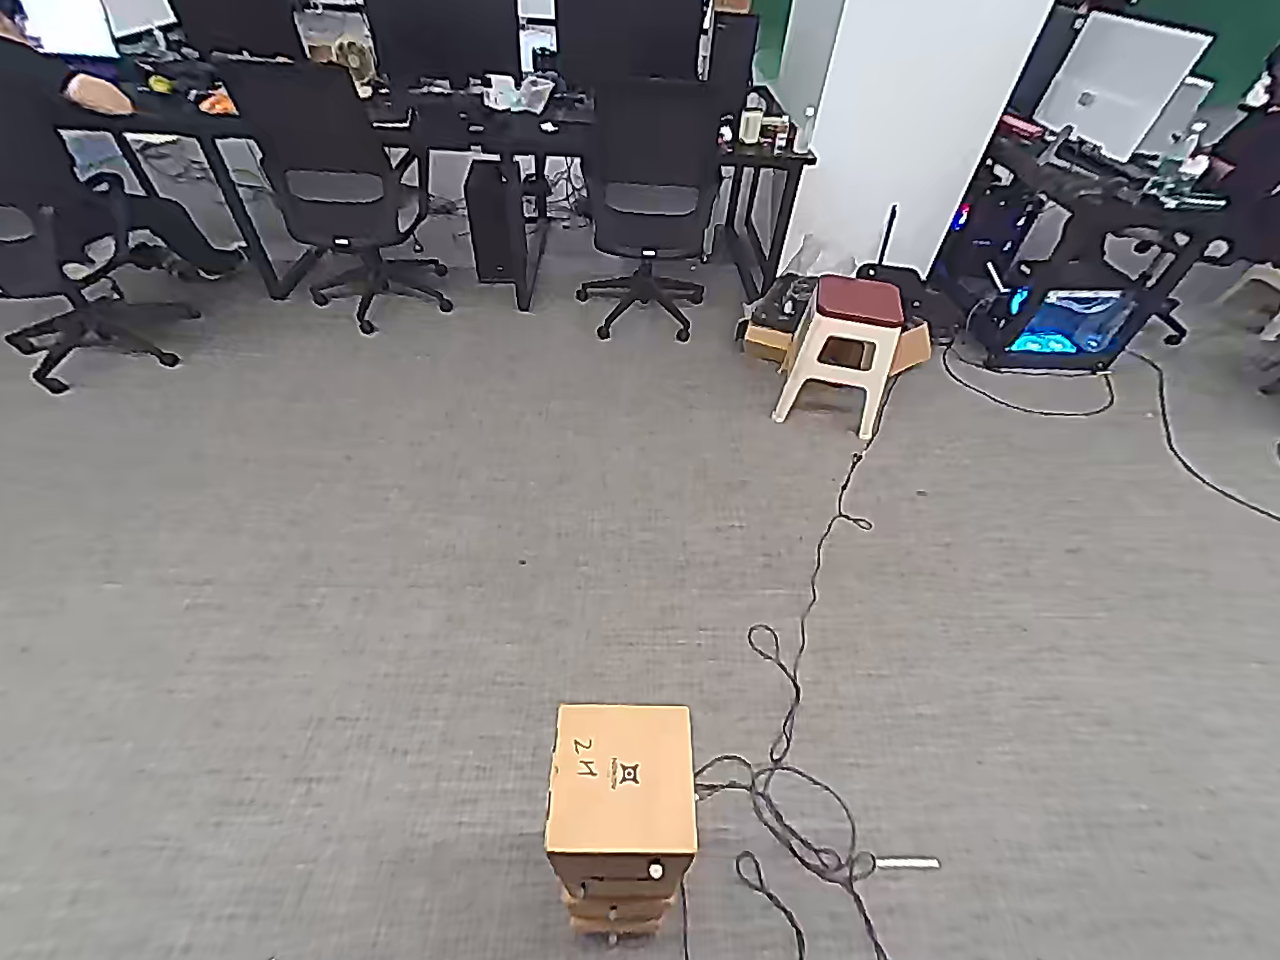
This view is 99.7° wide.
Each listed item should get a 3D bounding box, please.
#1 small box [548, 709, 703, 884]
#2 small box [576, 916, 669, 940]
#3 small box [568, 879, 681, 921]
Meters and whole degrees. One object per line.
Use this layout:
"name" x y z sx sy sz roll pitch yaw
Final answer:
"small box" -0.016 0.418 0.714 0.179 0.176 0.168 0 45 0
"small box" -0.032 0.774 1.054 0.168 0.176 0.179 1 47 -1
"small box" -0.026 0.655 0.944 0.179 0.176 0.168 0 46 -1
